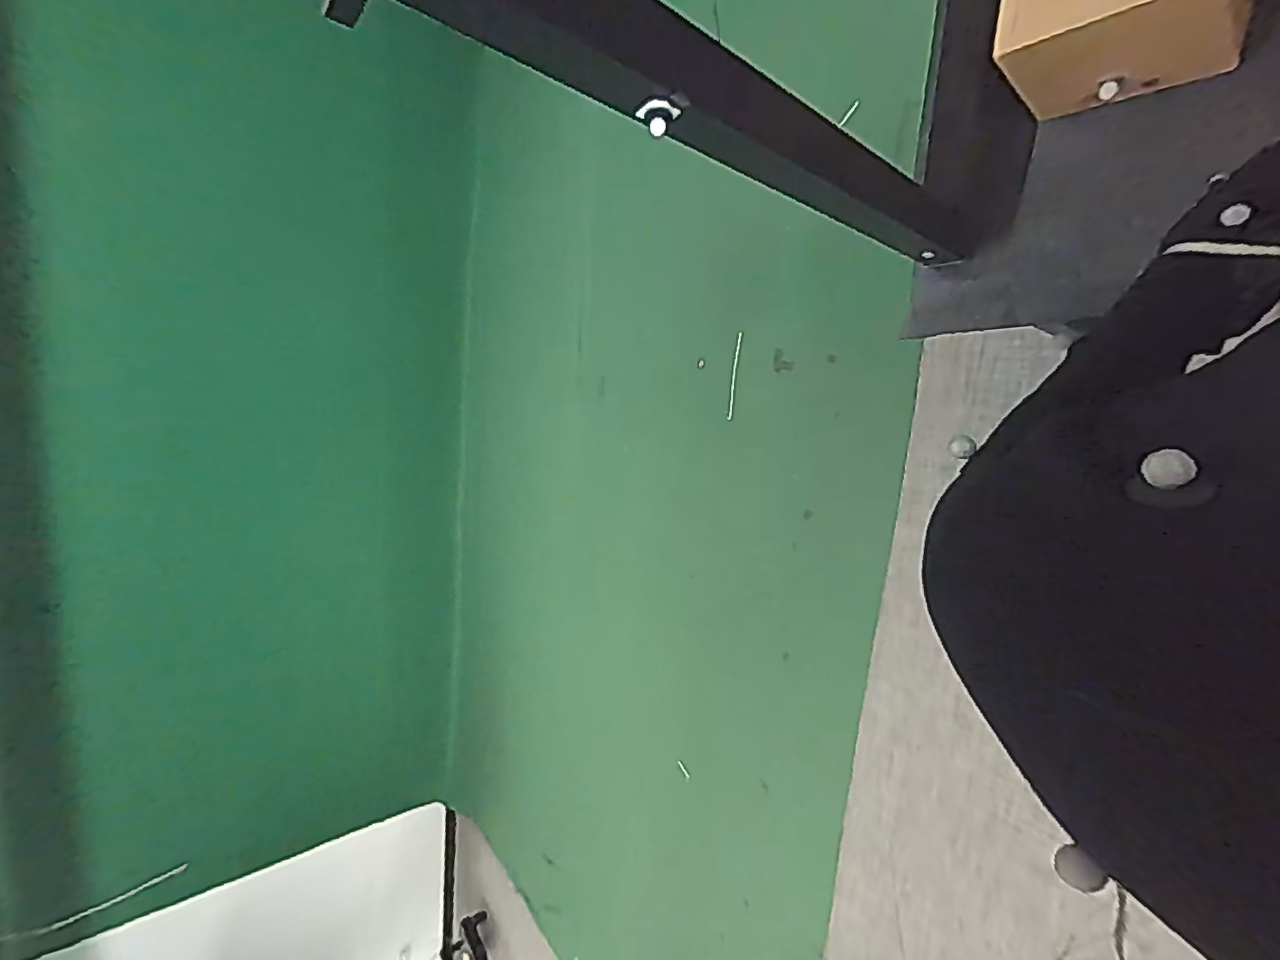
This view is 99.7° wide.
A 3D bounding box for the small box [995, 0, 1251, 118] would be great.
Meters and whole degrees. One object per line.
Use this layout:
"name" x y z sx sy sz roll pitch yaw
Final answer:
"small box" 0.483 -0.502 0.530 0.168 0.176 0.179 16 104 49
